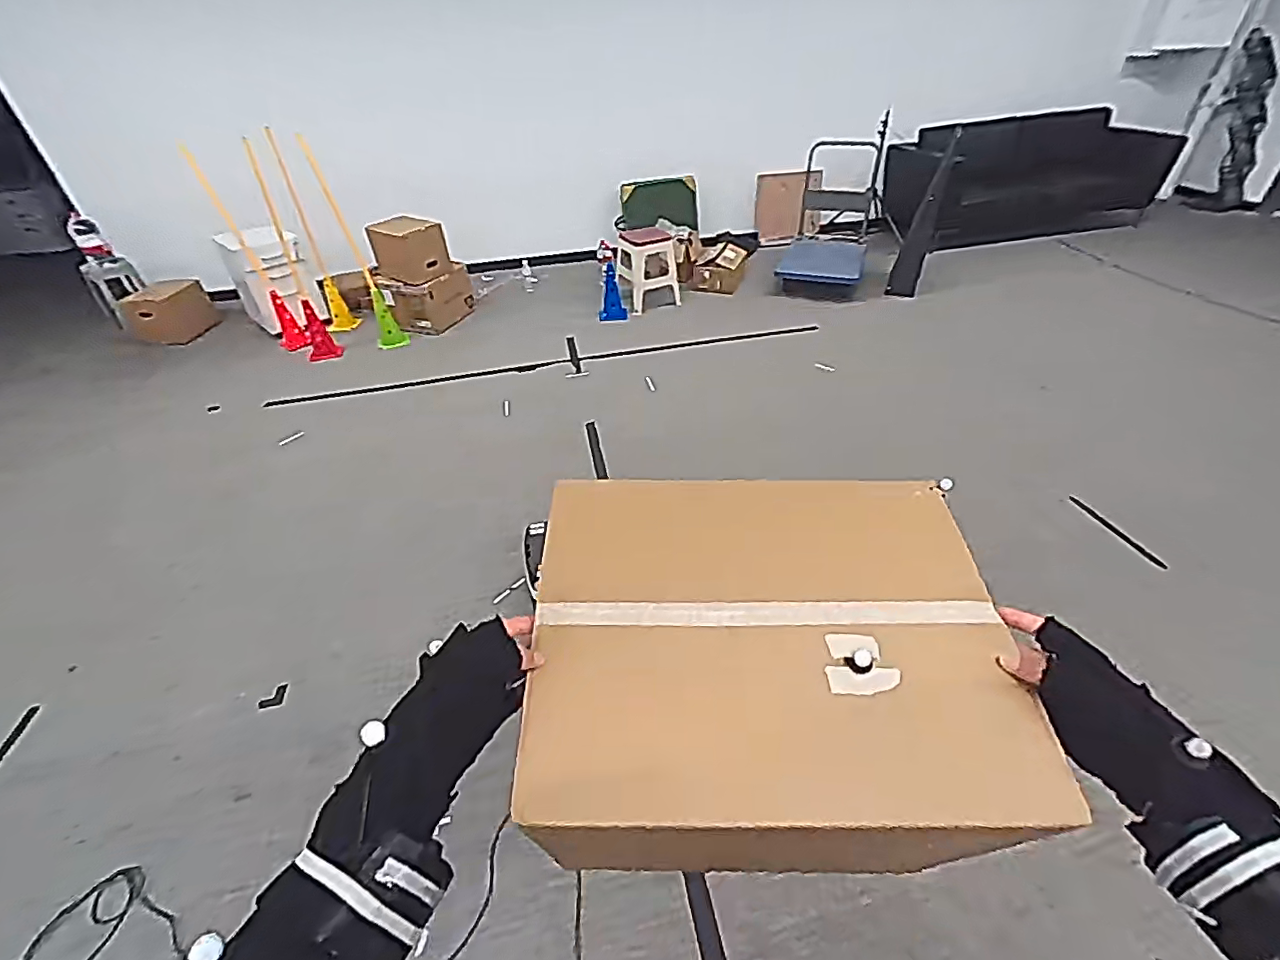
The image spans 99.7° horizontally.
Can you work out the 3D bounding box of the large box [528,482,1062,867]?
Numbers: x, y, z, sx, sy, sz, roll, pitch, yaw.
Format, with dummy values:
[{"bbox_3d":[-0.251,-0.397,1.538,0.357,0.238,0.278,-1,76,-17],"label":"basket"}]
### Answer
[{"bbox_3d":[0.109,0.219,0.601,0.408,0.320,0.320,-1,50,-1],"label":"large box"}]
